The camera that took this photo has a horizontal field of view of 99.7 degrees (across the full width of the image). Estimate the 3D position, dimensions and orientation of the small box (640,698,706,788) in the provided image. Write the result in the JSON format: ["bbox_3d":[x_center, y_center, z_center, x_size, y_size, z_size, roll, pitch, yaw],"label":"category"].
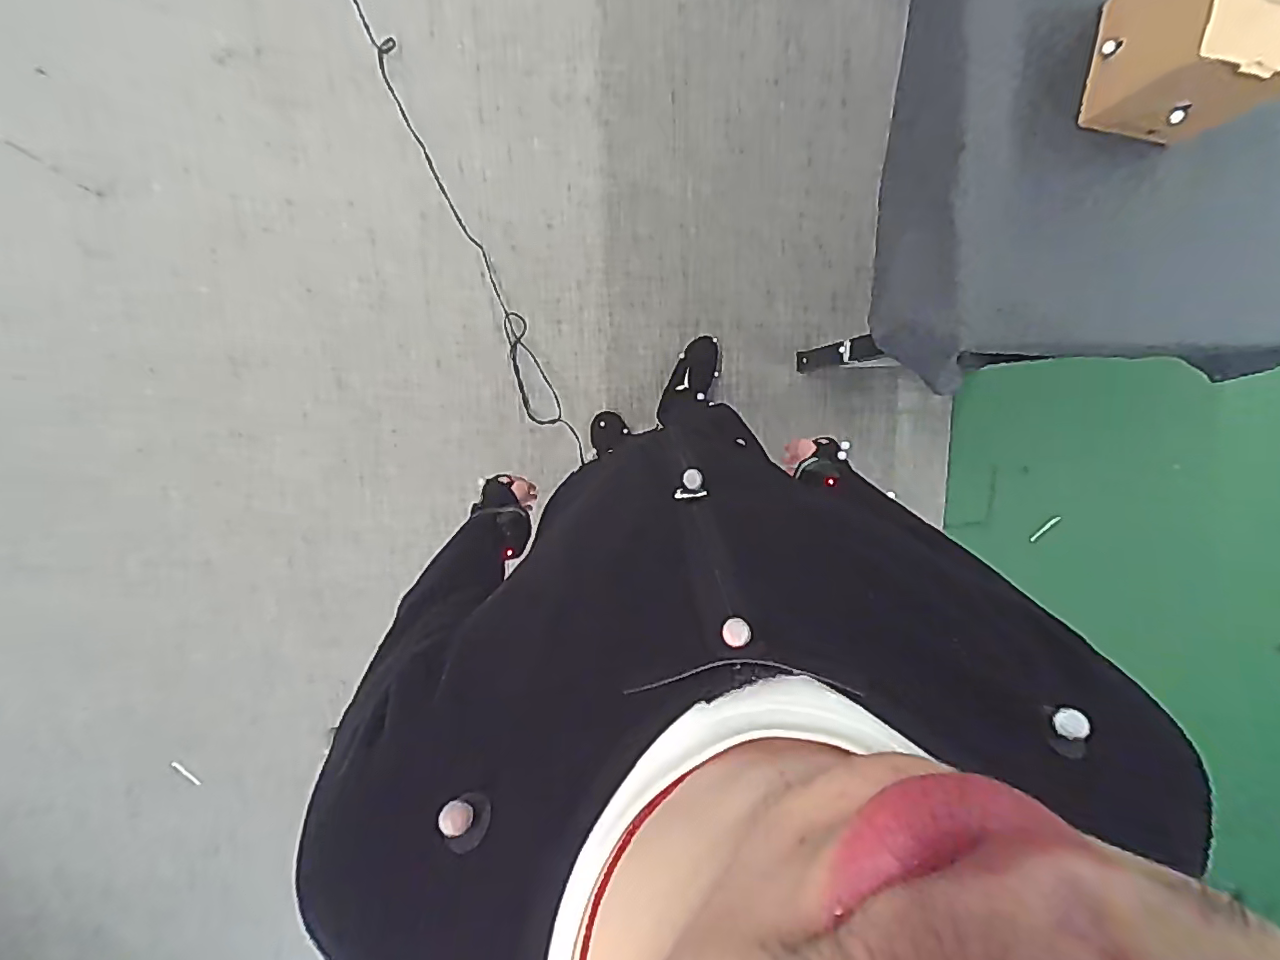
[{"bbox_3d":[0.092,0.768,1.590,0.168,0.176,0.179,0,98,-7],"label":"small box"}]

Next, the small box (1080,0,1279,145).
[{"bbox_3d":[0.754,-0.591,0.734,0.168,0.176,0.179,7,98,-6],"label":"small box"}]
